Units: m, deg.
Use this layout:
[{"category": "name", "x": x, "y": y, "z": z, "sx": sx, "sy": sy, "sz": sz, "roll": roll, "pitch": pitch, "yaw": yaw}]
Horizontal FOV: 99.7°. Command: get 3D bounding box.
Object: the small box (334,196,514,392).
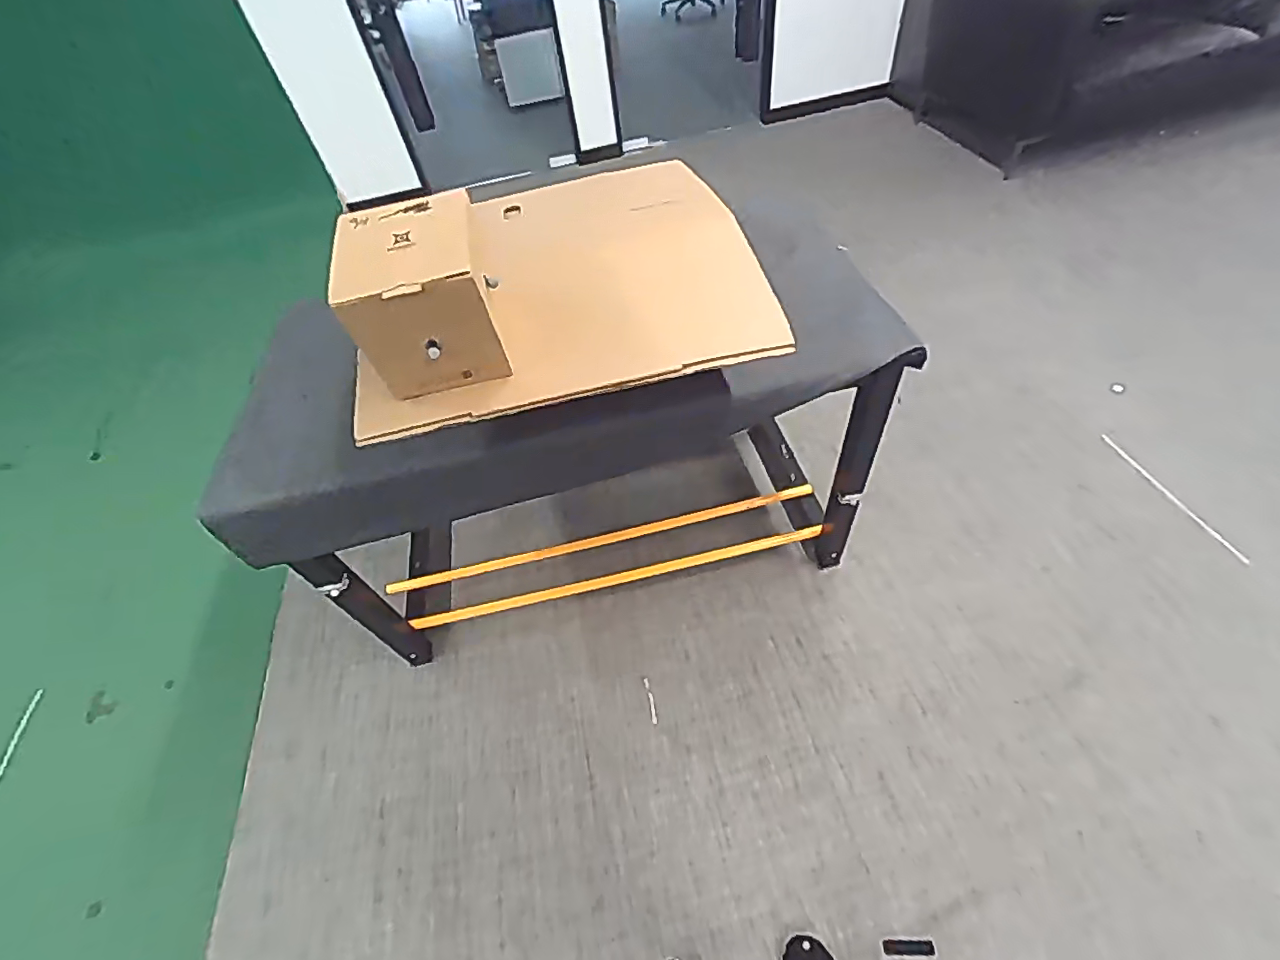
[{"category": "small box", "x": -0.275, "y": -0.236, "z": 0.720, "sx": 0.168, "sy": 0.176, "sz": 0.179, "roll": -13, "pitch": 59, "yaw": -2}]
